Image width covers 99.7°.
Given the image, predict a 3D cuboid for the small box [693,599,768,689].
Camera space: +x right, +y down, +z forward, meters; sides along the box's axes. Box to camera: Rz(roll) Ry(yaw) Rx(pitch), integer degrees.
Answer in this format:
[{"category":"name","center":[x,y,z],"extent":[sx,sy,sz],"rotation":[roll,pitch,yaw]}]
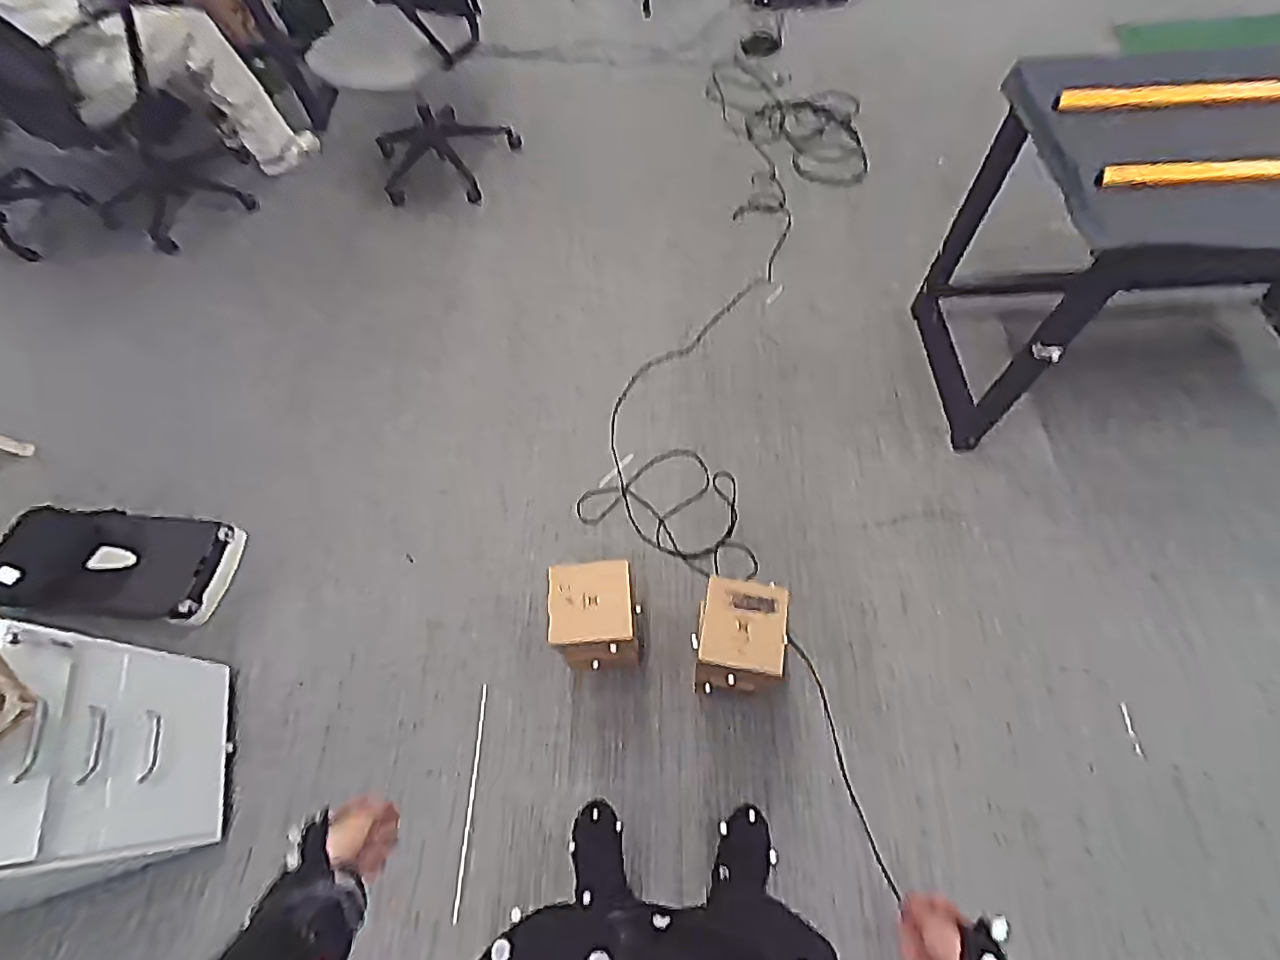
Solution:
[{"category":"small box","center":[0.217,0.400,1.309],"extent":[0.168,0.176,0.179],"rotation":[4,63,6]}]

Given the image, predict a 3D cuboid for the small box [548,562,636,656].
[{"category":"small box","center":[-0.101,0.291,1.203],"extent":[0.179,0.176,0.168],"rotation":[-6,63,2]}]

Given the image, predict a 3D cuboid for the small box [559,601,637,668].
[{"category":"small box","center":[-0.098,0.370,1.348],"extent":[0.179,0.176,0.168],"rotation":[-4,63,2]}]
